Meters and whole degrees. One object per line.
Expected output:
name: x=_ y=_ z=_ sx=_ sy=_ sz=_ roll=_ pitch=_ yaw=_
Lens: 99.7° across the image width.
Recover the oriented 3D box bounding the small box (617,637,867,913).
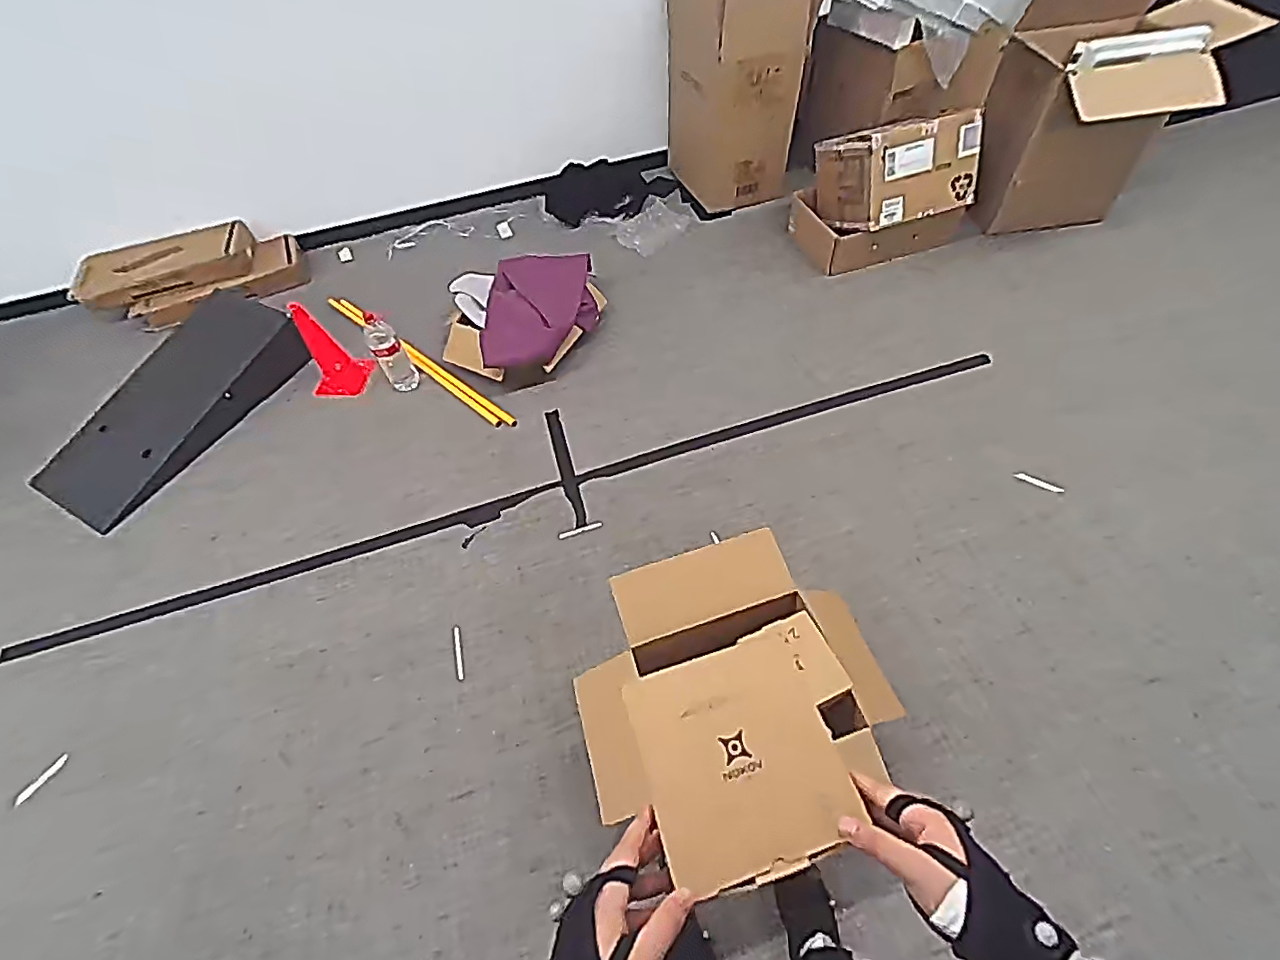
small box: x=0.085 y=0.287 z=0.528 sx=0.168 sy=0.176 sz=0.179 roll=-16 pitch=52 yaw=-8

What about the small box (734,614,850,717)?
small box: x=0.306 y=0.419 z=1.146 sx=0.168 sy=0.176 sz=0.179 roll=-19 pitch=56 yaw=-13
